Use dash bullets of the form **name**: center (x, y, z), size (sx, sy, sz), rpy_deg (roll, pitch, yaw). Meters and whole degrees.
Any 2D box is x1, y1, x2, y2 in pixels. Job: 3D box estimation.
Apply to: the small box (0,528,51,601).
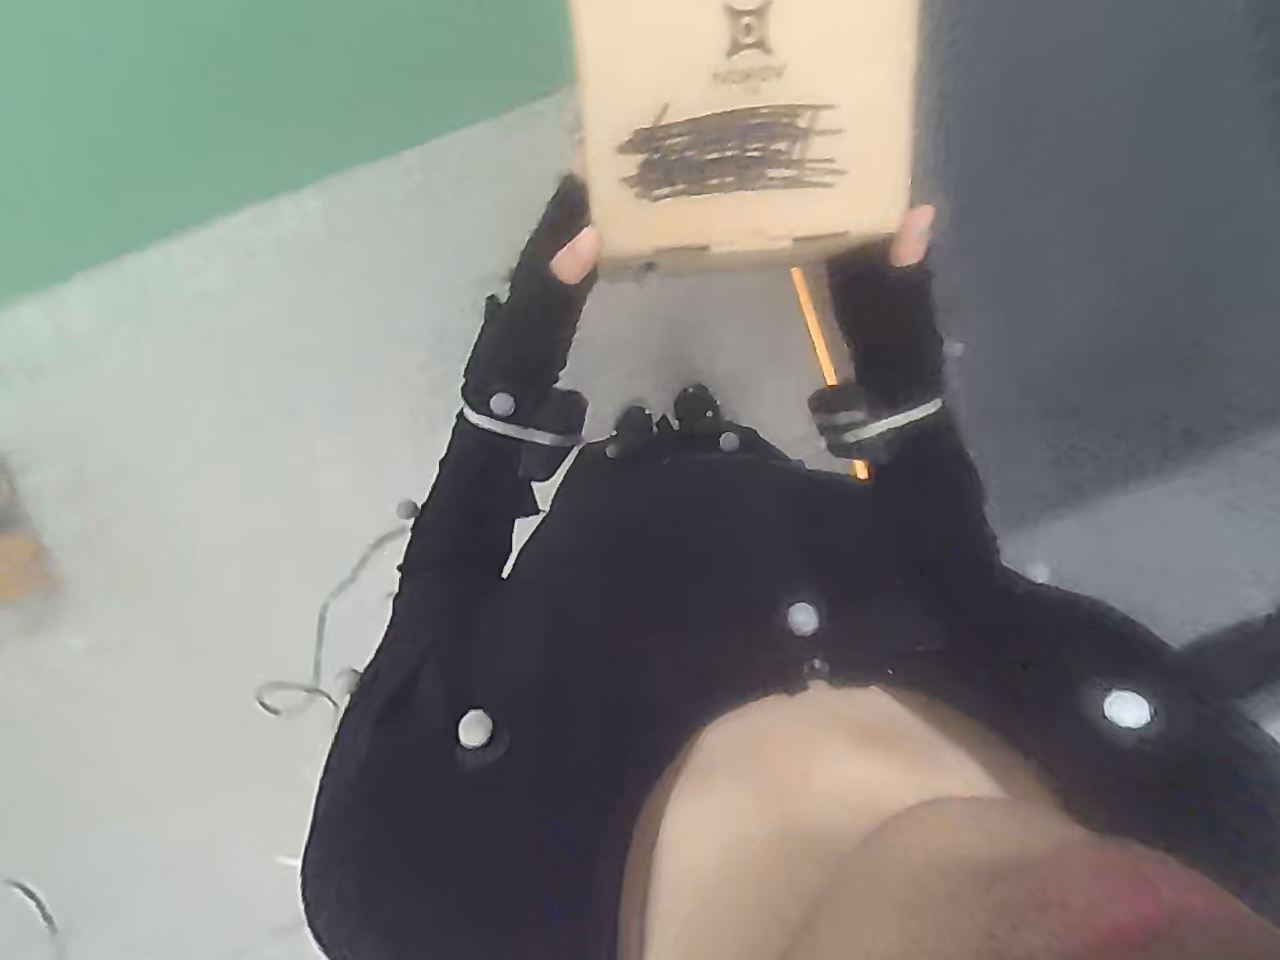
- **small box**: center (-1.636, 0.230, 1.324), size (0.179, 0.176, 0.168), rpy_deg (-18, 98, -1)
